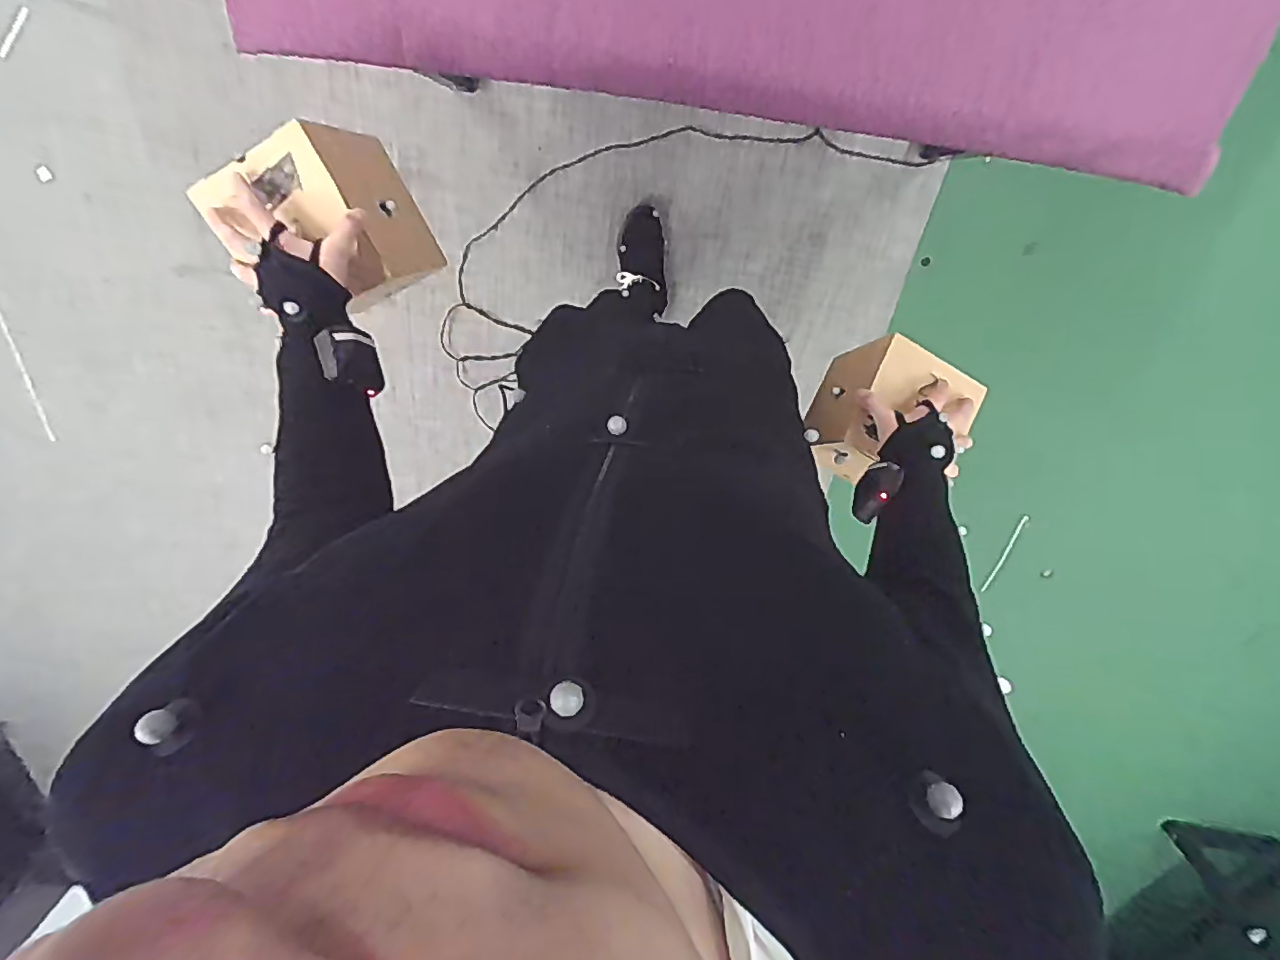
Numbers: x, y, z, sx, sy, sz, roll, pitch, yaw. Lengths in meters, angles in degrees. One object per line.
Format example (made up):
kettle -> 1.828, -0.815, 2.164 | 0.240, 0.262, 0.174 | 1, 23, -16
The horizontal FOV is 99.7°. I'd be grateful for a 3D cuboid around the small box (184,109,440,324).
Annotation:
small box -> -0.390, -0.322, 0.679 | 0.168, 0.176, 0.179 | -20, 114, 14
